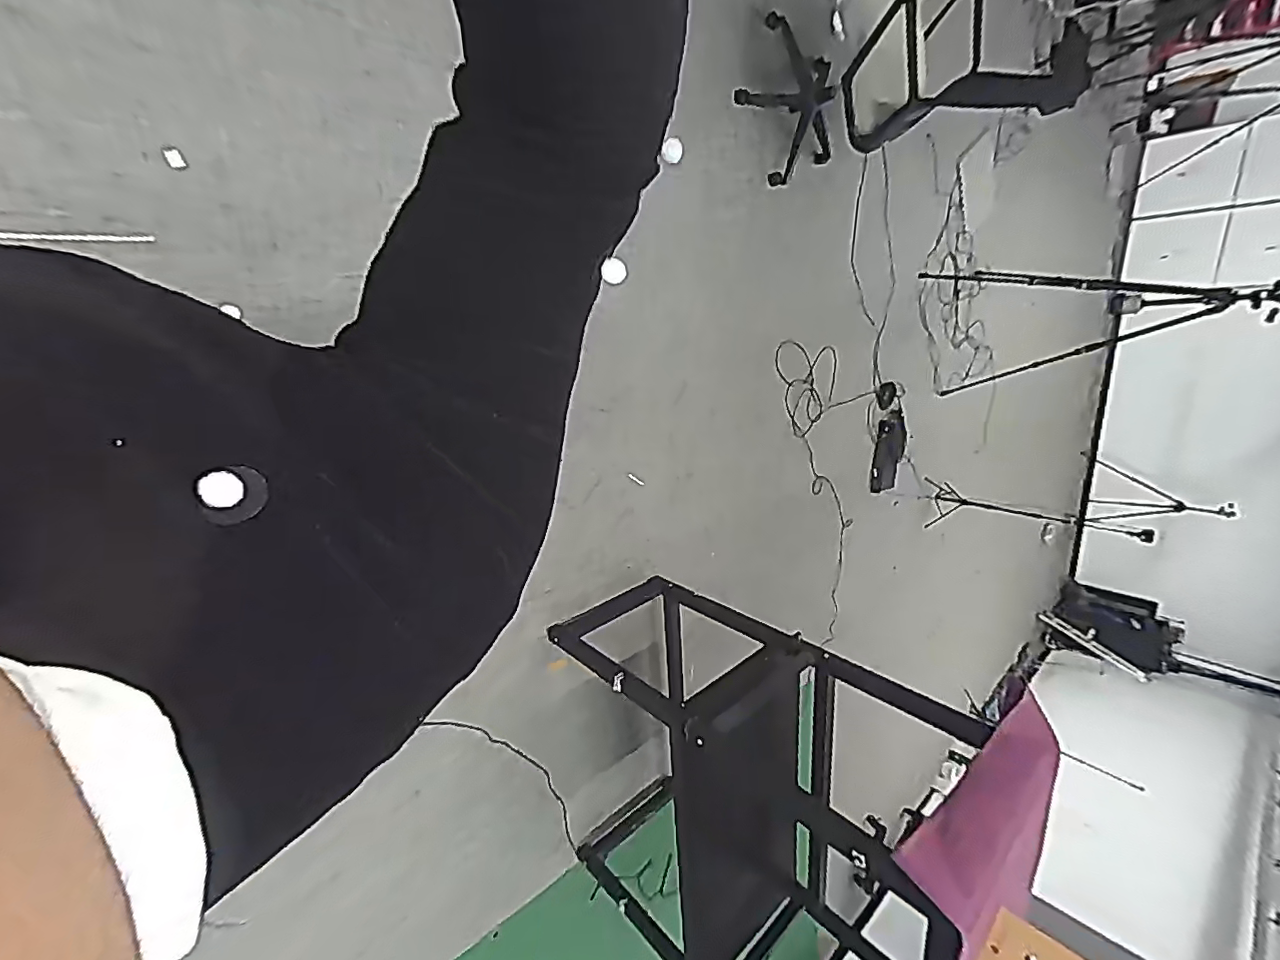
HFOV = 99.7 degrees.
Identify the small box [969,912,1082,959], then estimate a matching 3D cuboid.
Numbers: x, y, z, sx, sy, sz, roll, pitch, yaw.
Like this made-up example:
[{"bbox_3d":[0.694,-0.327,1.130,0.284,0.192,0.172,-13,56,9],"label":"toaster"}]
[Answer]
[{"bbox_3d":[0.784,1.048,1.110,0.168,0.176,0.179,-20,113,-36],"label":"small box"}]
